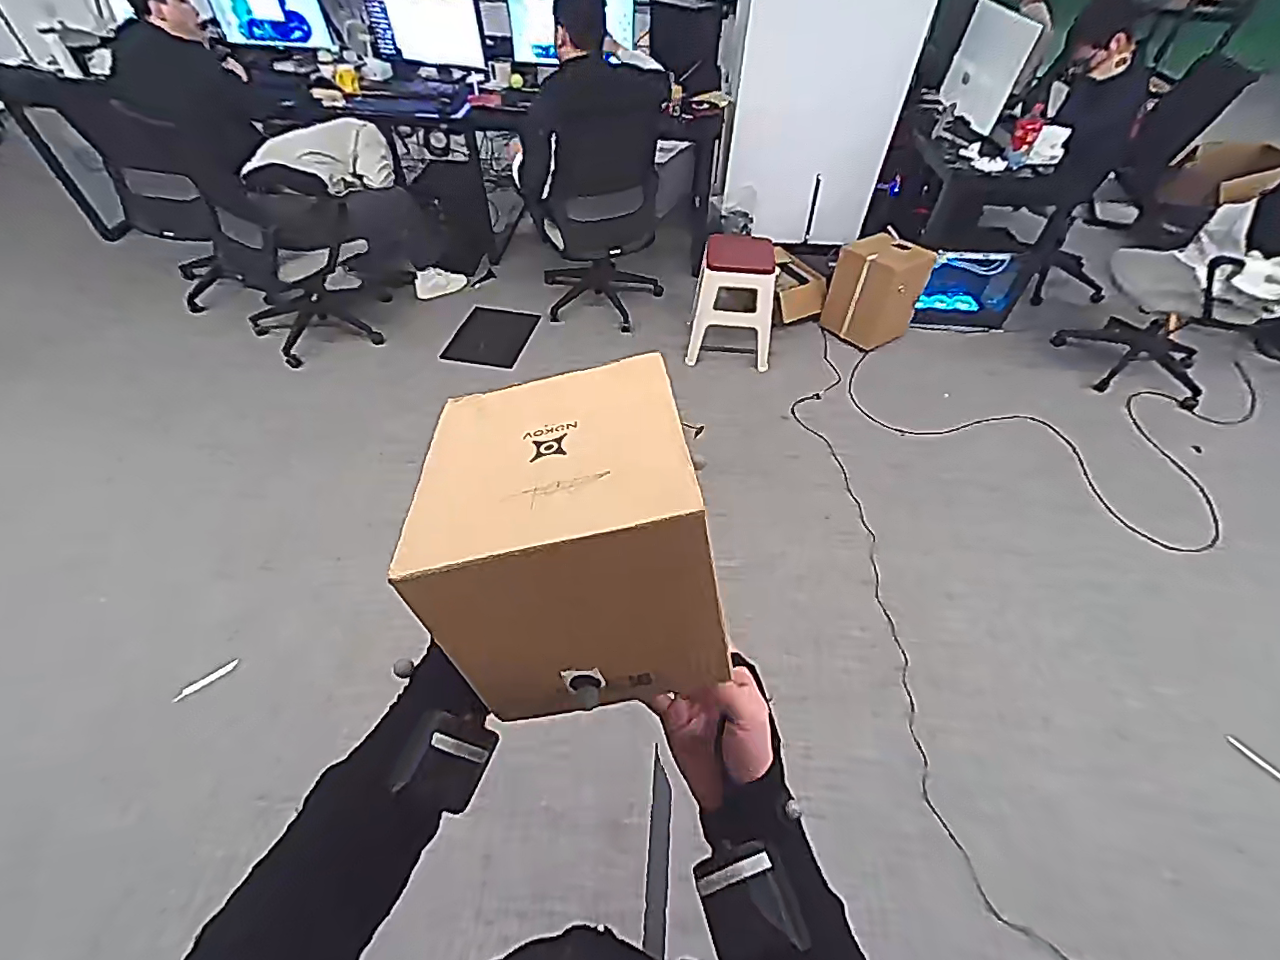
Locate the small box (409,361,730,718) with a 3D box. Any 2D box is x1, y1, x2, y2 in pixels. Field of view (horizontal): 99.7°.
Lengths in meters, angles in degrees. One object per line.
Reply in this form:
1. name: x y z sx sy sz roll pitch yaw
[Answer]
1. small box: -0.038 0.041 0.397 0.168 0.176 0.179 -13 41 2
